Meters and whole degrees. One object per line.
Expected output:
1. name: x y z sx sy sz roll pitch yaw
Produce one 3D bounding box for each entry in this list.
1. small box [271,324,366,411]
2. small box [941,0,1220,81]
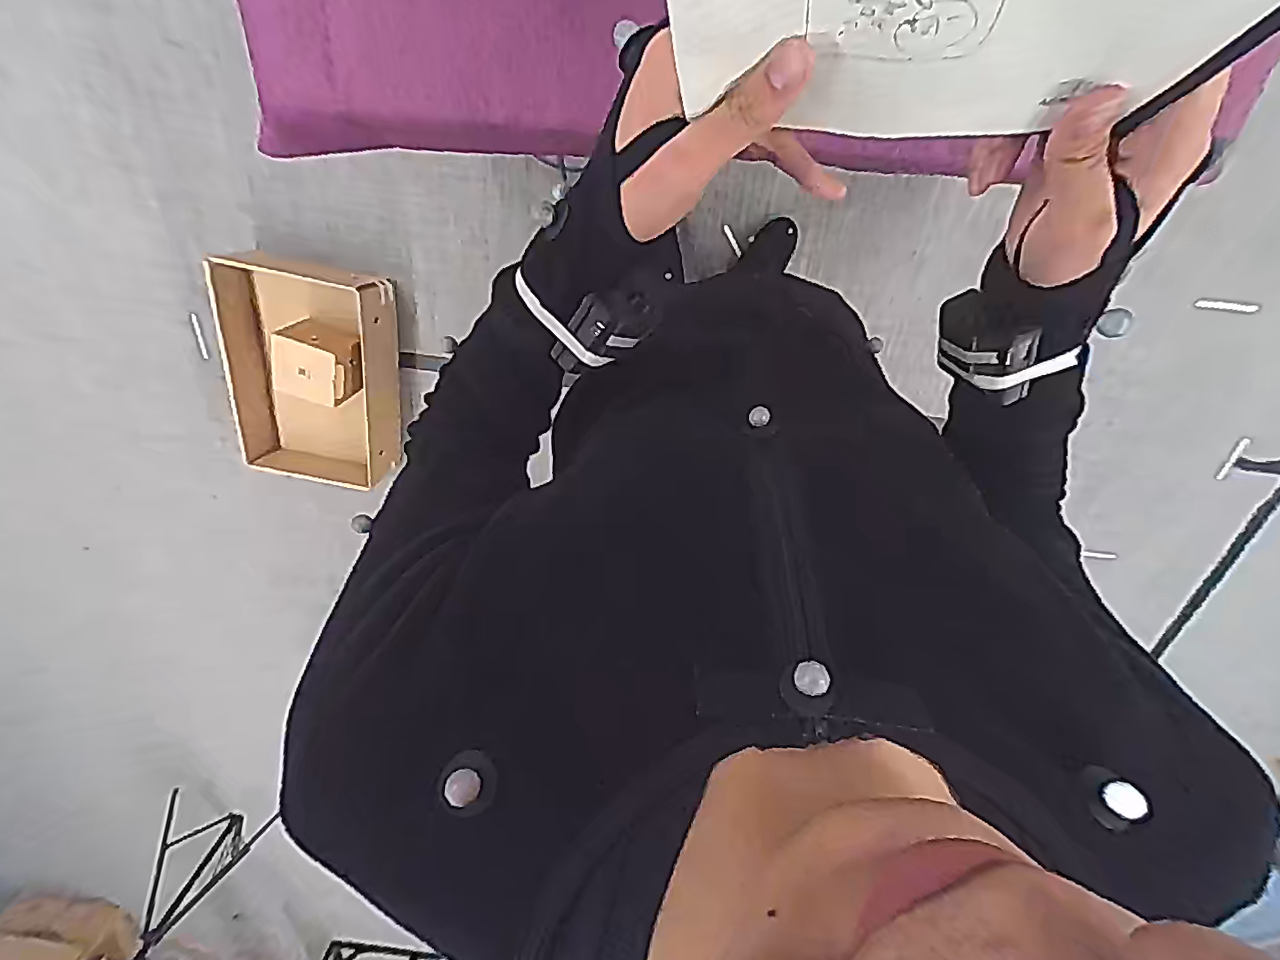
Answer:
1. small box: -0.898 -0.322 1.522 0.179 0.176 0.168 18 119 -6
2. small box: 0.428 -0.503 0.519 0.179 0.176 0.168 8 120 1
